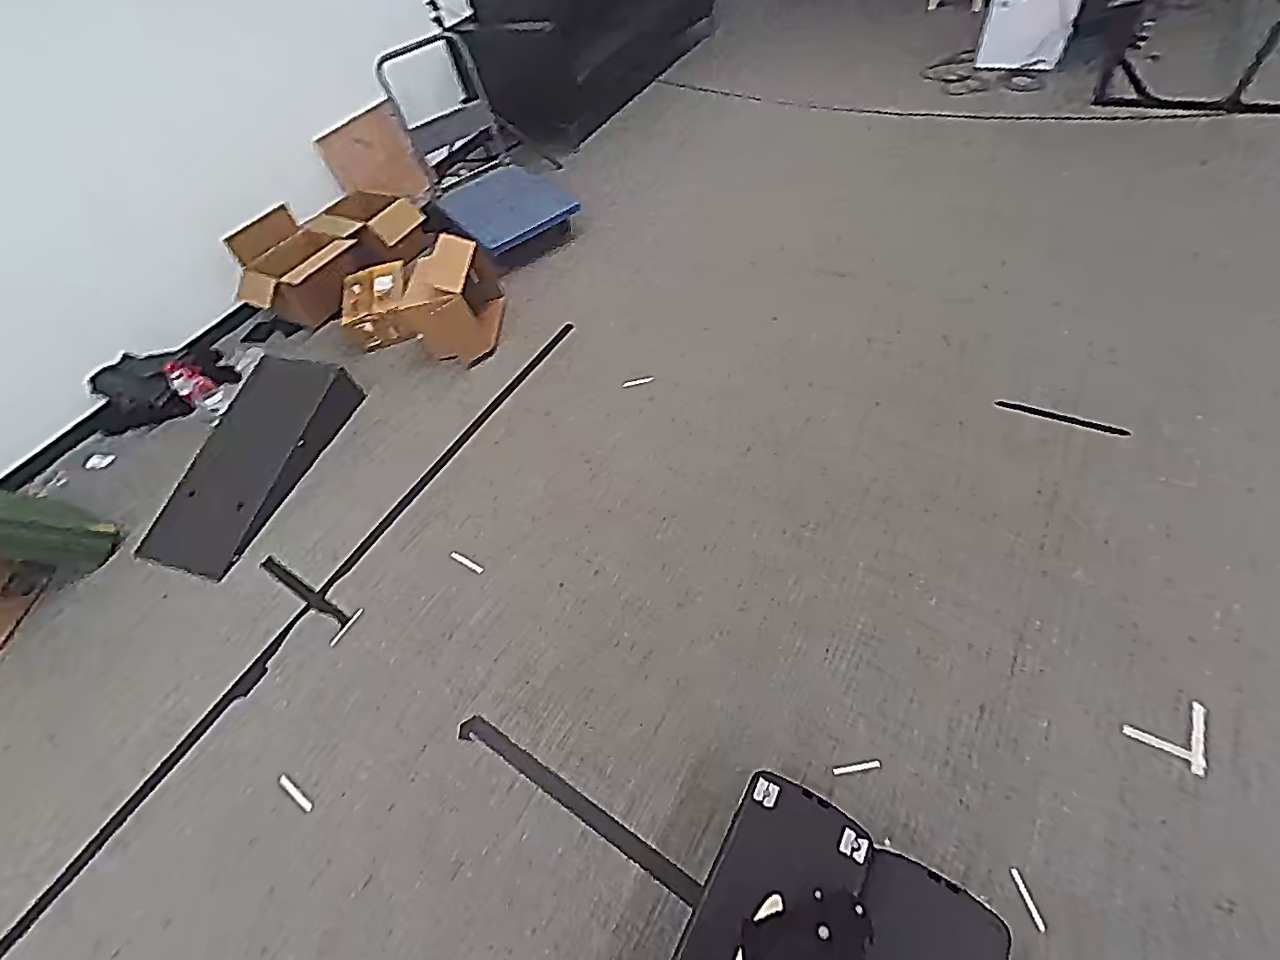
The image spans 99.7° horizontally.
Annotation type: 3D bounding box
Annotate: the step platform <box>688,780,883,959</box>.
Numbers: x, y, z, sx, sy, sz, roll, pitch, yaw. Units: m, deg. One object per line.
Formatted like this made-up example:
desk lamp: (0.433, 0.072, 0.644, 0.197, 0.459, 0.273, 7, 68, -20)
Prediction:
step platform: (0.253, 1.005, 1.107, 0.286, 0.204, 0.684, 22, 61, 24)
